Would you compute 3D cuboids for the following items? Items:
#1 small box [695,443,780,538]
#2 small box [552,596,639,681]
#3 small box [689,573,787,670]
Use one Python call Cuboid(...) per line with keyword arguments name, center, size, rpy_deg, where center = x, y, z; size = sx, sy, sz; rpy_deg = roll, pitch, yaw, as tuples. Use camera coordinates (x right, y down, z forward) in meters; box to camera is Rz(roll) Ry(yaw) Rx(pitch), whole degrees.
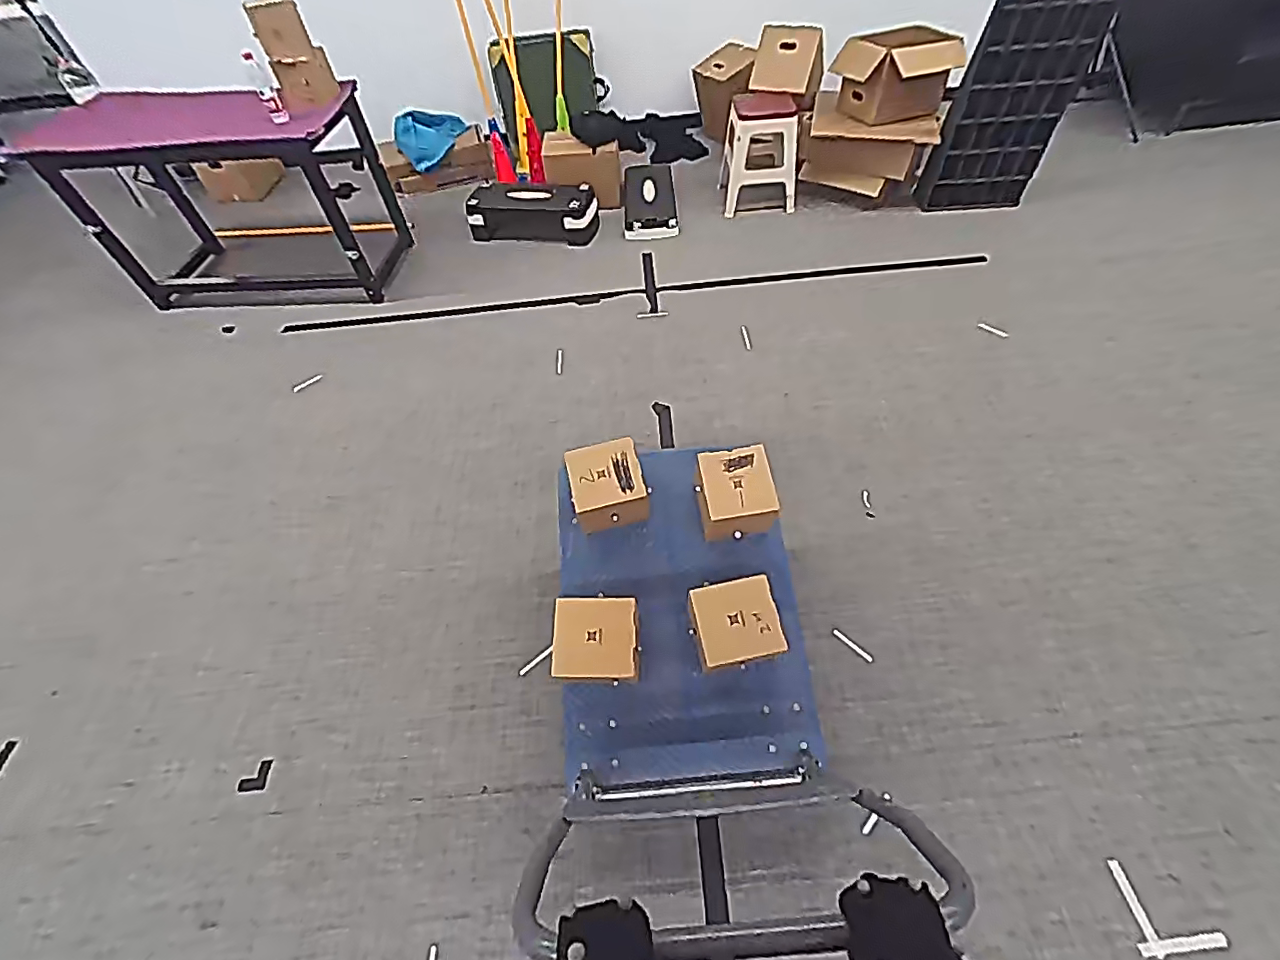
Cuboid(name="small box", center=(0.234, 0.031, 1.351), size=(0.168, 0.176, 0.179), rpy_deg=(-9, 67, -1))
Cuboid(name="small box", center=(-0.094, 0.363, 1.225), size=(0.179, 0.176, 0.168), rpy_deg=(-1, 66, 1))
Cuboid(name="small box", center=(0.212, 0.326, 1.224), size=(0.179, 0.176, 0.168), rpy_deg=(-12, 67, -2))
